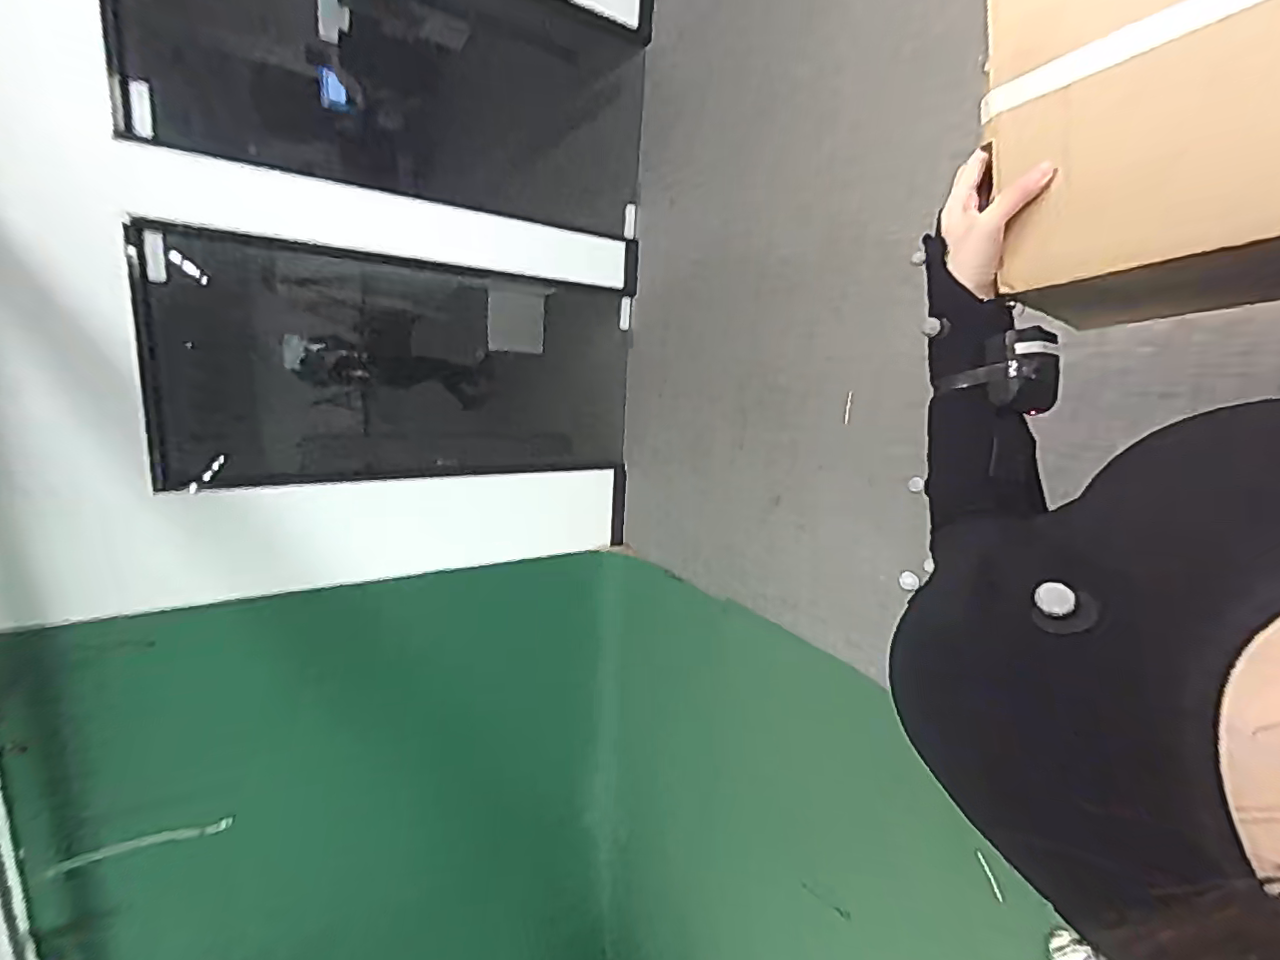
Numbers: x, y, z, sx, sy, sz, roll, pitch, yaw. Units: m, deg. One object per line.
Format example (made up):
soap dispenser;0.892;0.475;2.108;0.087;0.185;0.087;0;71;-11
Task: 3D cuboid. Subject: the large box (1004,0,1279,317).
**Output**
large box;0.541;-0.334;0.396;0.408;0.320;0.320;0;96;47
